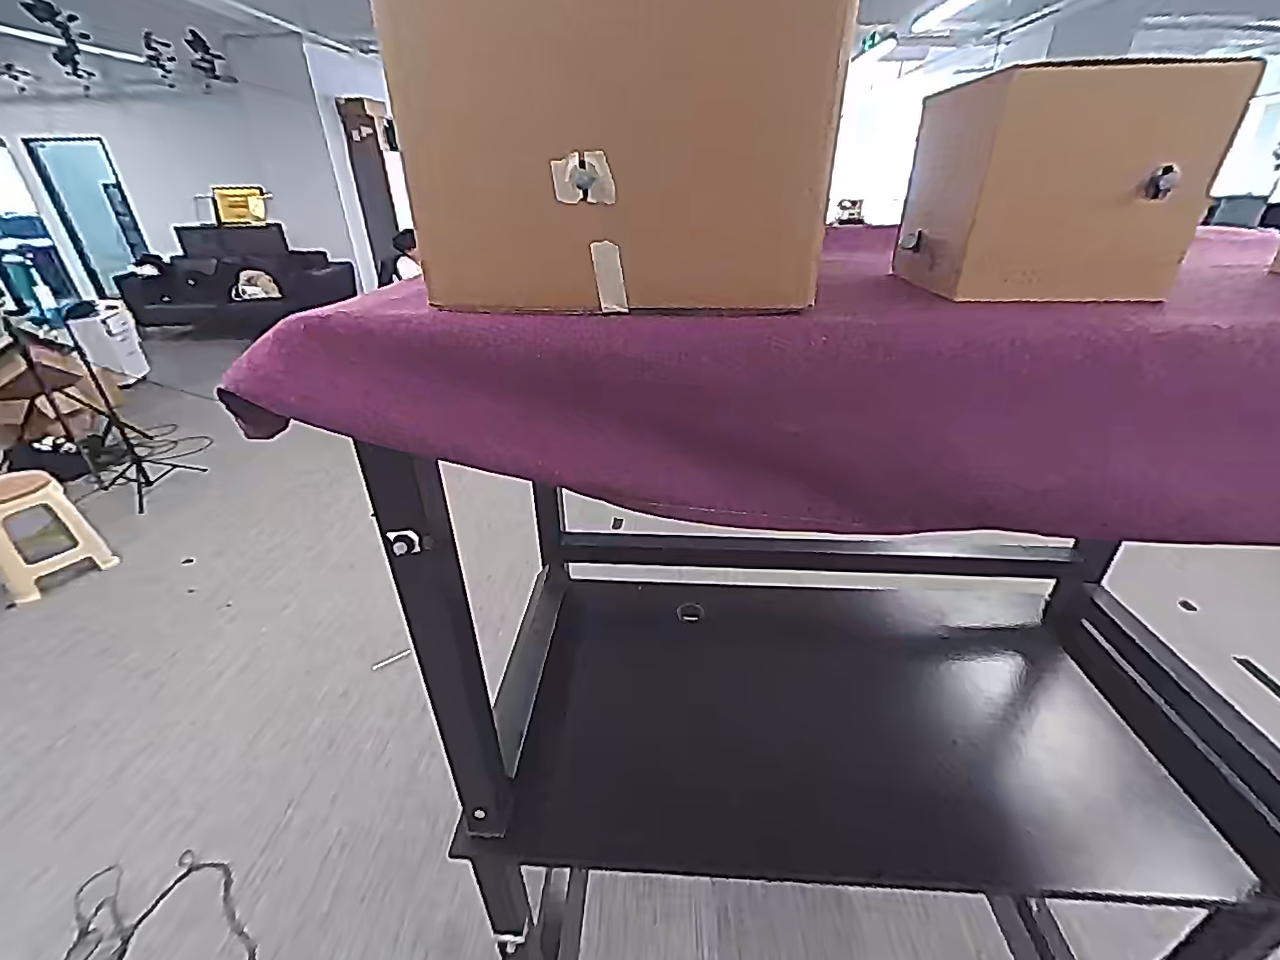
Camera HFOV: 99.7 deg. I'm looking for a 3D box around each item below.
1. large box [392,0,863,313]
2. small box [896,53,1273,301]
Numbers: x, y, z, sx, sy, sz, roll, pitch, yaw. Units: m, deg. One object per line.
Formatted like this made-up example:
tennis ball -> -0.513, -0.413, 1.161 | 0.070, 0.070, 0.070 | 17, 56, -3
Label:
large box -> -0.001, -0.357, 0.528 | 0.320, 0.320, 0.408 | 2, 28, 3
small box -> 0.361, -0.261, 0.486 | 0.179, 0.176, 0.168 | 1, 28, 3
